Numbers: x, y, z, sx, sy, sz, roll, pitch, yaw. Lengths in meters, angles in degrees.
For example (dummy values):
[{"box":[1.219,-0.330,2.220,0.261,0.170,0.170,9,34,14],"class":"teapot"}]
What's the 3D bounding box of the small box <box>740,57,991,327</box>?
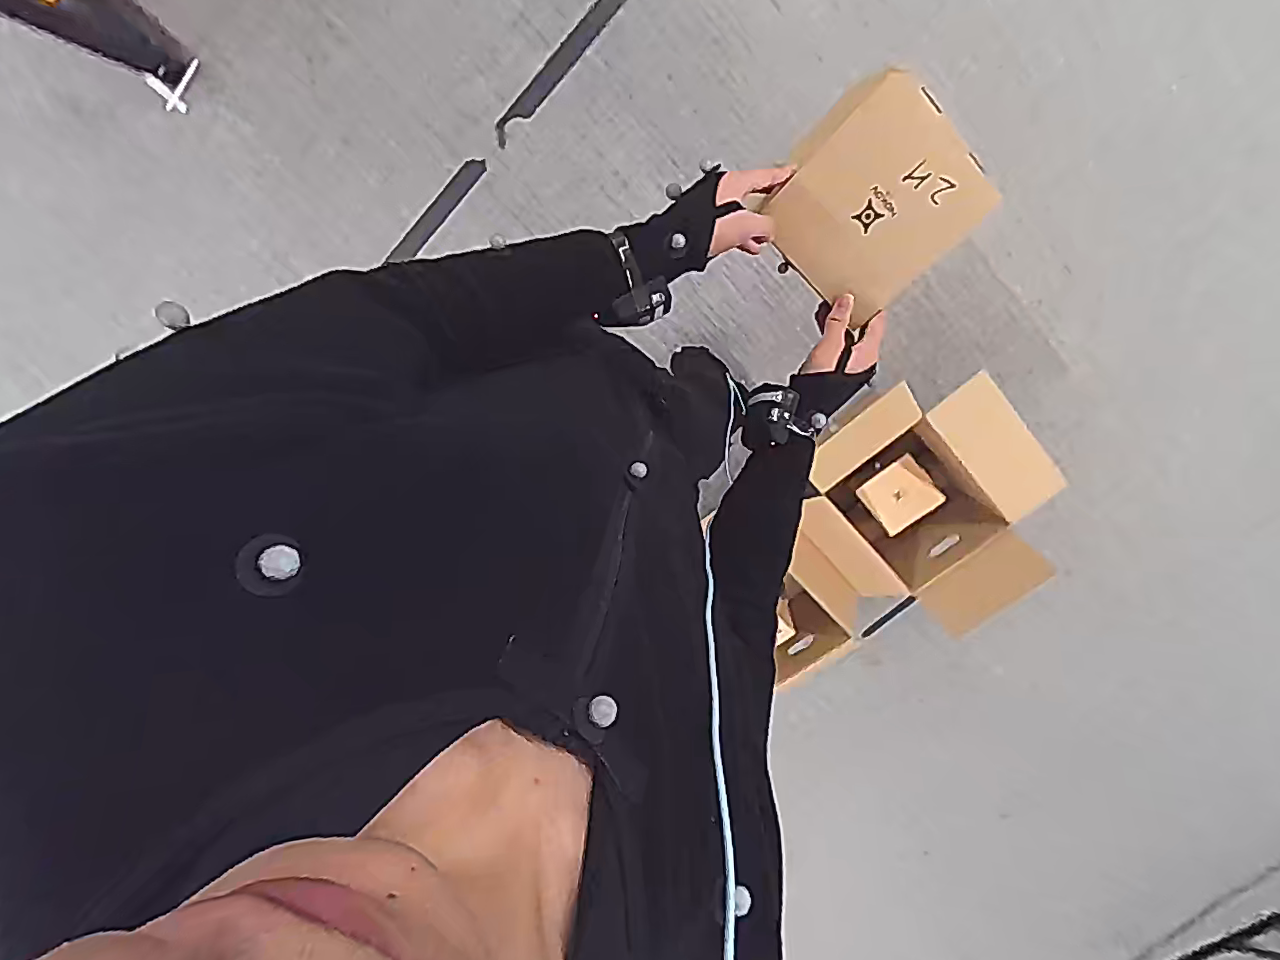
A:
[{"box":[0.226,-0.305,0.594,0.168,0.176,0.179,39,116,-17],"class":"small box"}]
